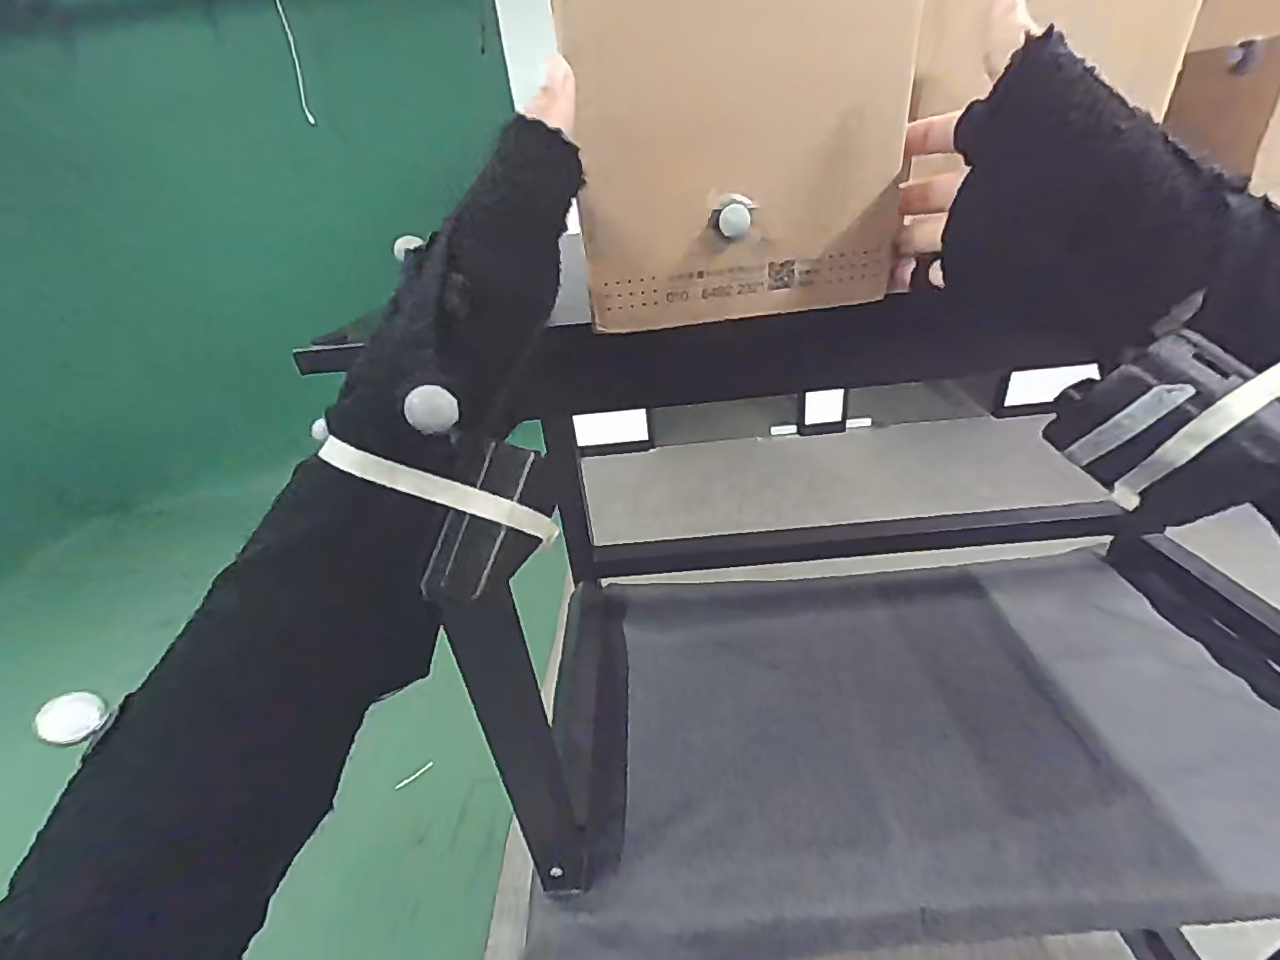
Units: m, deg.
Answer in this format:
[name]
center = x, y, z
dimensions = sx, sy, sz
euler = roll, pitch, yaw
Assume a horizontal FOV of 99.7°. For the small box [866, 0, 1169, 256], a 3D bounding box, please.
[small box]
center = 0.263, -0.283, 0.435
dimensions = 0.168, 0.176, 0.179
euler = -5, 29, 5
